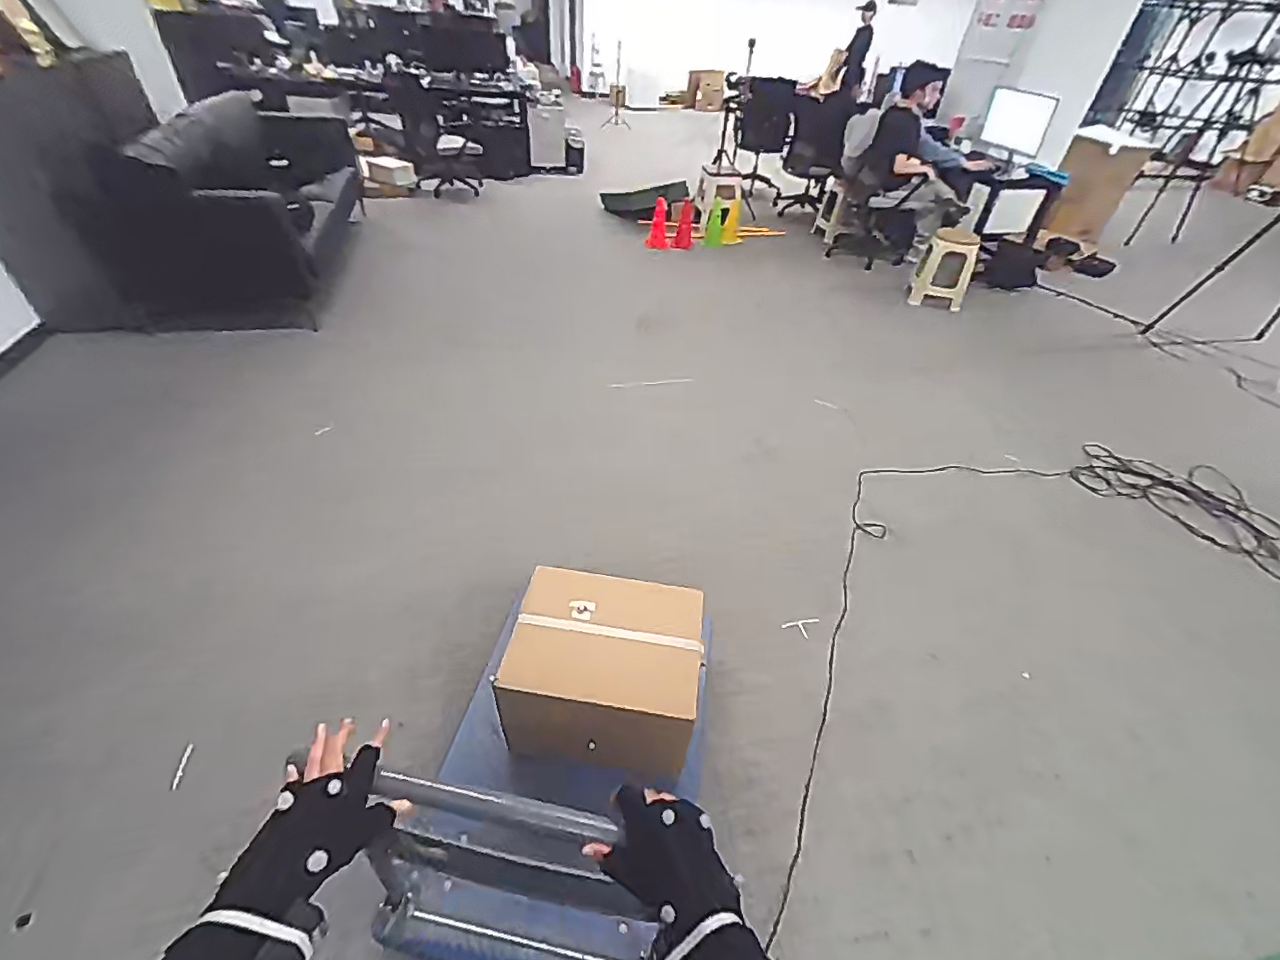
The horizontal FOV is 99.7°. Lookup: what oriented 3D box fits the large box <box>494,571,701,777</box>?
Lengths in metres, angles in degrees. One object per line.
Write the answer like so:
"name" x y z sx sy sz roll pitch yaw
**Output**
"large box" -0.078 0.450 1.261 0.408 0.320 0.320 7 40 5
